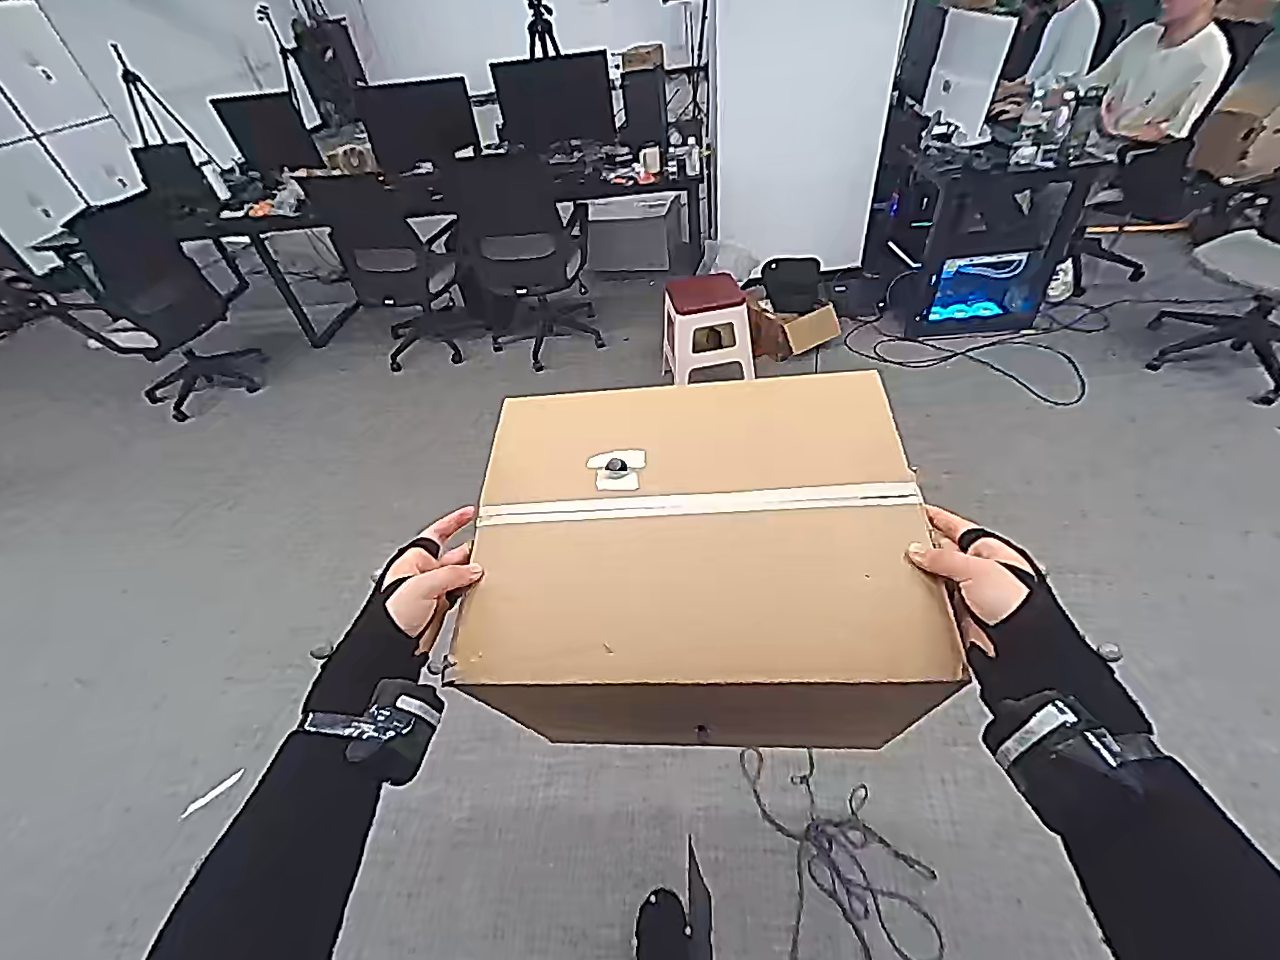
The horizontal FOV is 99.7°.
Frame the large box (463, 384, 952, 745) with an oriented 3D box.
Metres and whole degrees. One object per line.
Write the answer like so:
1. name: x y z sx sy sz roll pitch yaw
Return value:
1. large box: 0.069 0.122 0.639 0.408 0.320 0.320 -4 54 8
